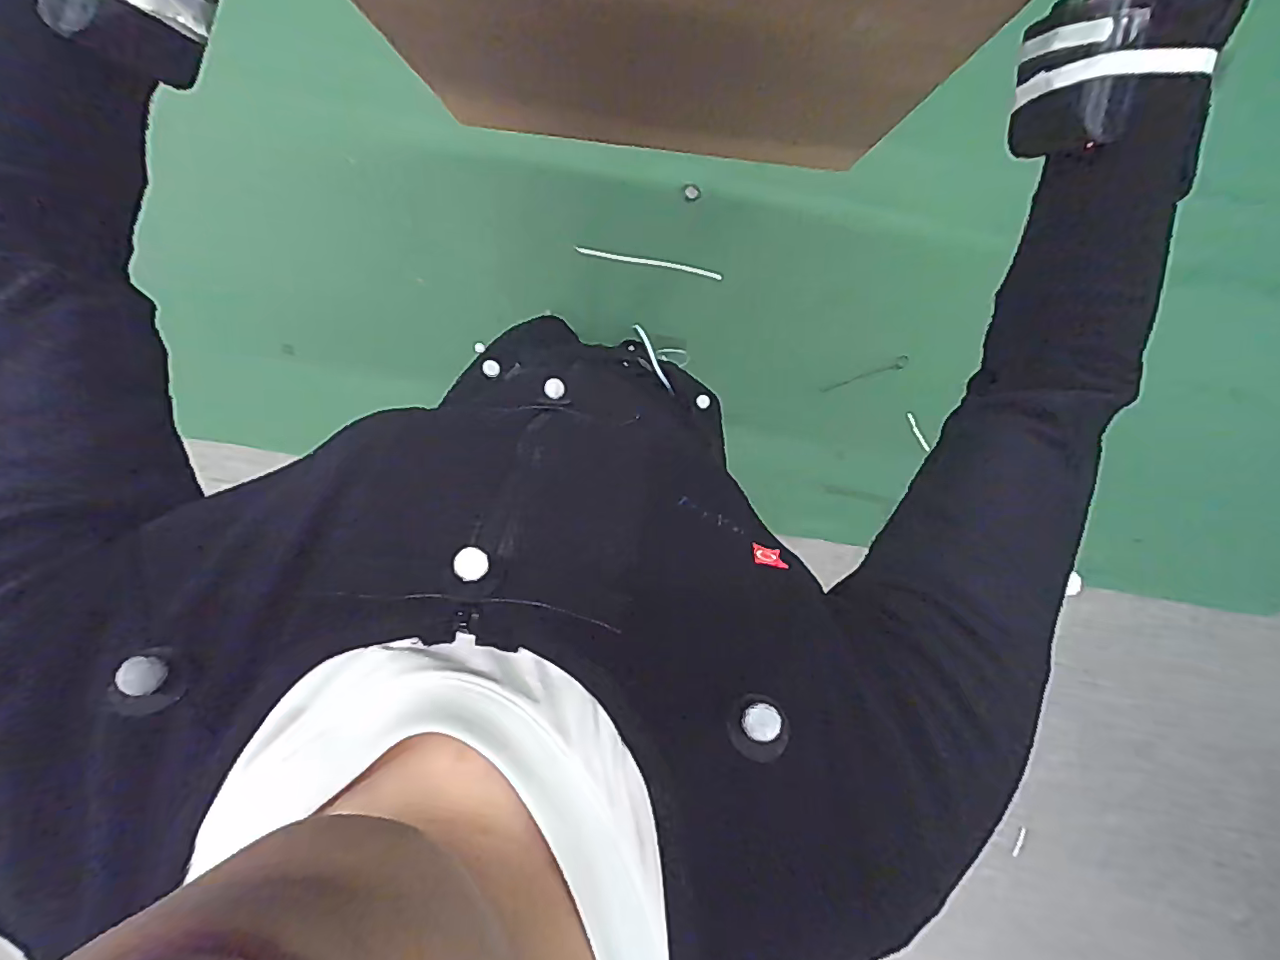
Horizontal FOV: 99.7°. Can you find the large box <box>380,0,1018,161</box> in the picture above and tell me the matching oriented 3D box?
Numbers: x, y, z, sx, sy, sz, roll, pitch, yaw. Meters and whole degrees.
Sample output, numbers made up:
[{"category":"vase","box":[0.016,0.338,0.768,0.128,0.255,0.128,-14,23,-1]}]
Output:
[{"category":"large box","box":[0.033,-0.457,0.378,0.408,0.320,0.320,6,105,-1]}]
